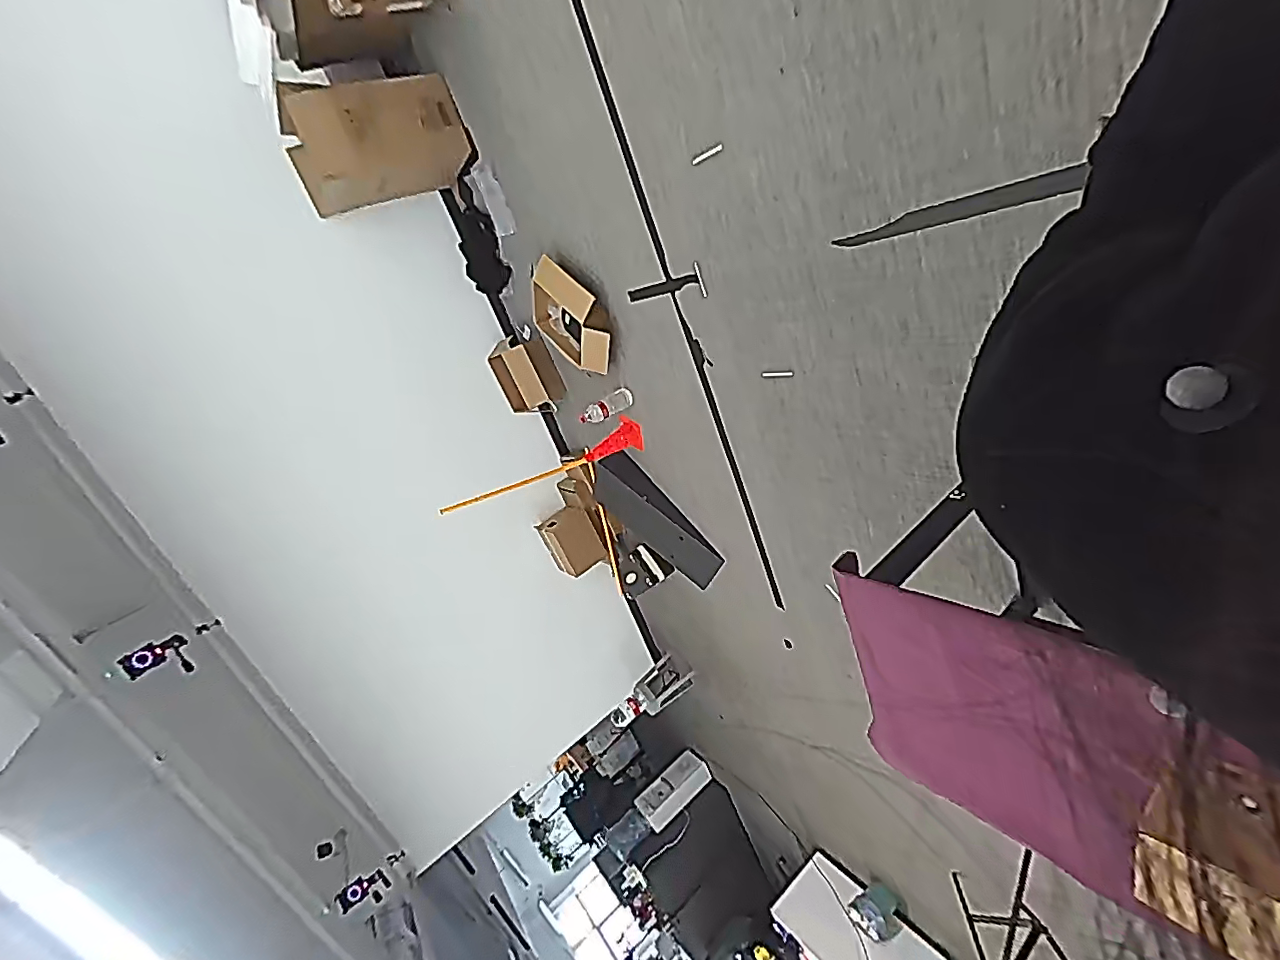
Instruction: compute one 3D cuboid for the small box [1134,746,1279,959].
[{"bbox_3d":[0.808,0.512,0.731,0.168,0.176,0.179,15,133,54],"label":"small box"}]
